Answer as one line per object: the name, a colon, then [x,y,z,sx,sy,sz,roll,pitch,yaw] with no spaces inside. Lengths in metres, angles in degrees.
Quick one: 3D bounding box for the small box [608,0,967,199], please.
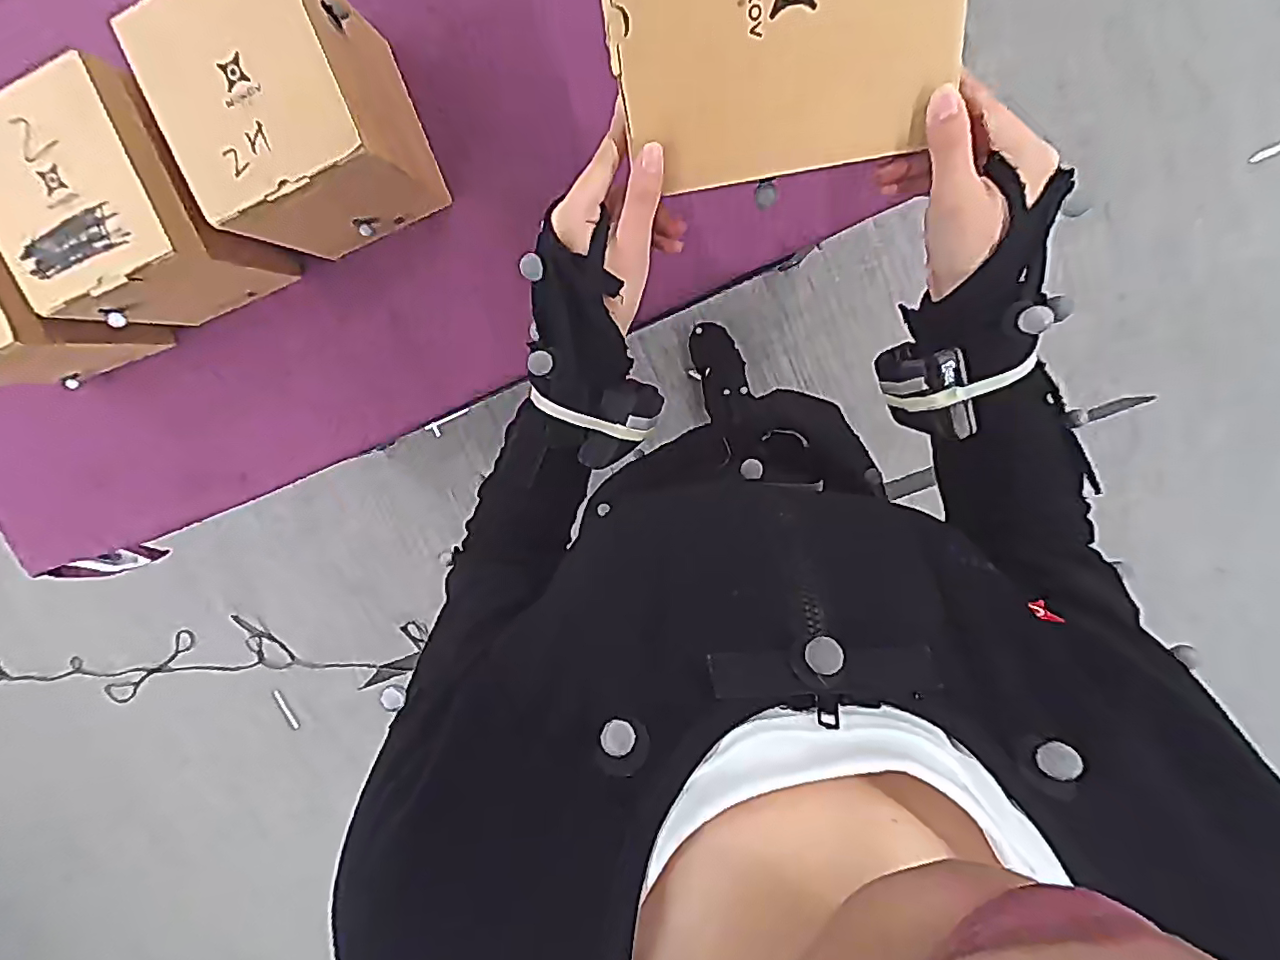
small box: [0.076,-0.281,0.334,0.179,0.176,0.168,-6,118,9]
